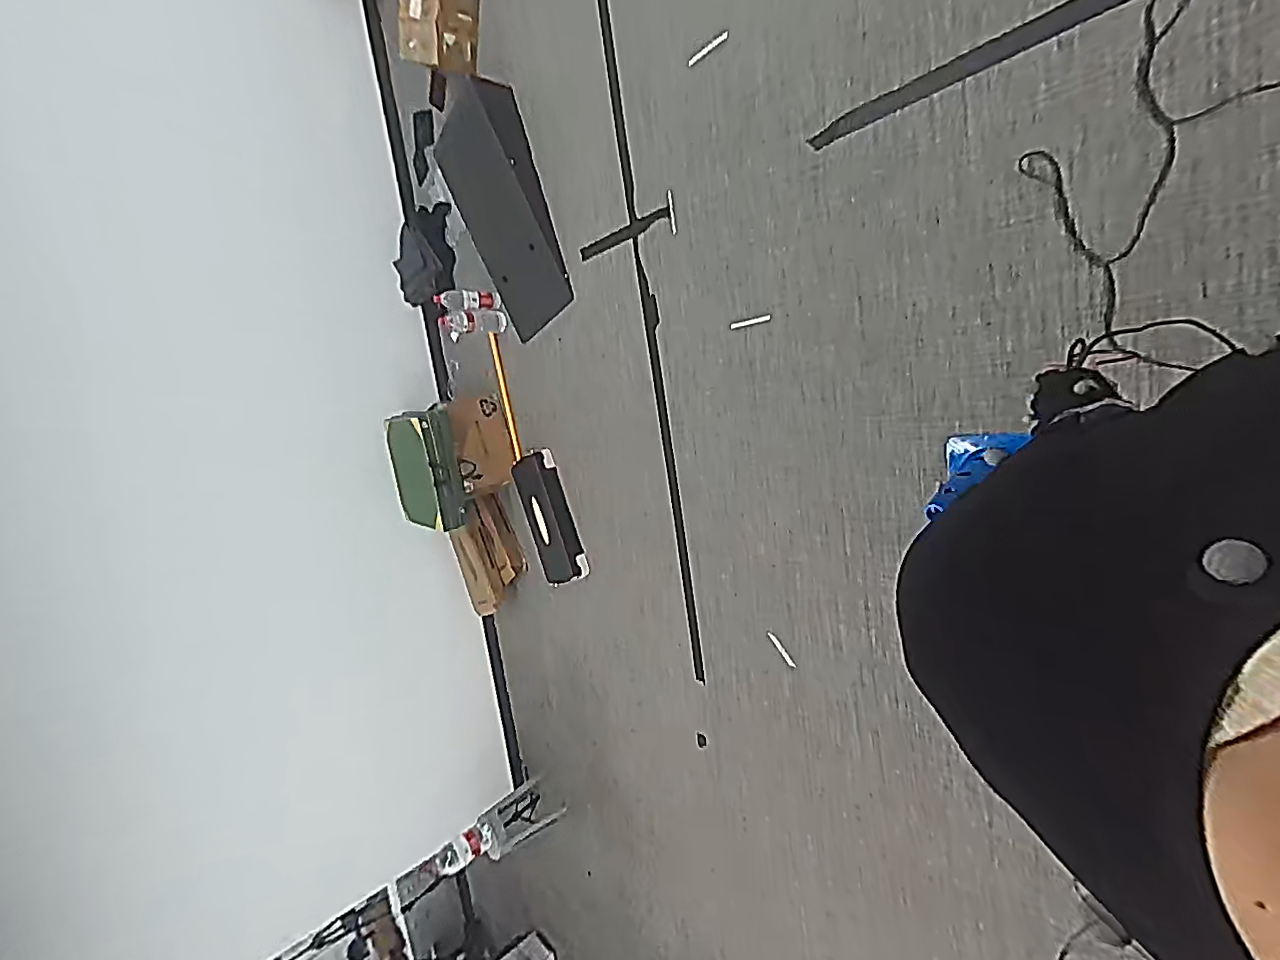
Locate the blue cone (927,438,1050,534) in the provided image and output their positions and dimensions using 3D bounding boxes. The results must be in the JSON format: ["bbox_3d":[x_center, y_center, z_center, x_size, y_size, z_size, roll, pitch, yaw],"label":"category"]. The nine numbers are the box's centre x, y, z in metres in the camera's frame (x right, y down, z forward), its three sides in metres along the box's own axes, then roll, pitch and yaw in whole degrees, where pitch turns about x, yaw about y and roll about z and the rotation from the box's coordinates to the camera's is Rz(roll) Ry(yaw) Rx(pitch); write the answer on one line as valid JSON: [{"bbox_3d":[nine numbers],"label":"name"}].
[{"bbox_3d":[0.692,0.035,1.129,0.193,0.380,0.192,3,105,50],"label":"blue cone"}]
